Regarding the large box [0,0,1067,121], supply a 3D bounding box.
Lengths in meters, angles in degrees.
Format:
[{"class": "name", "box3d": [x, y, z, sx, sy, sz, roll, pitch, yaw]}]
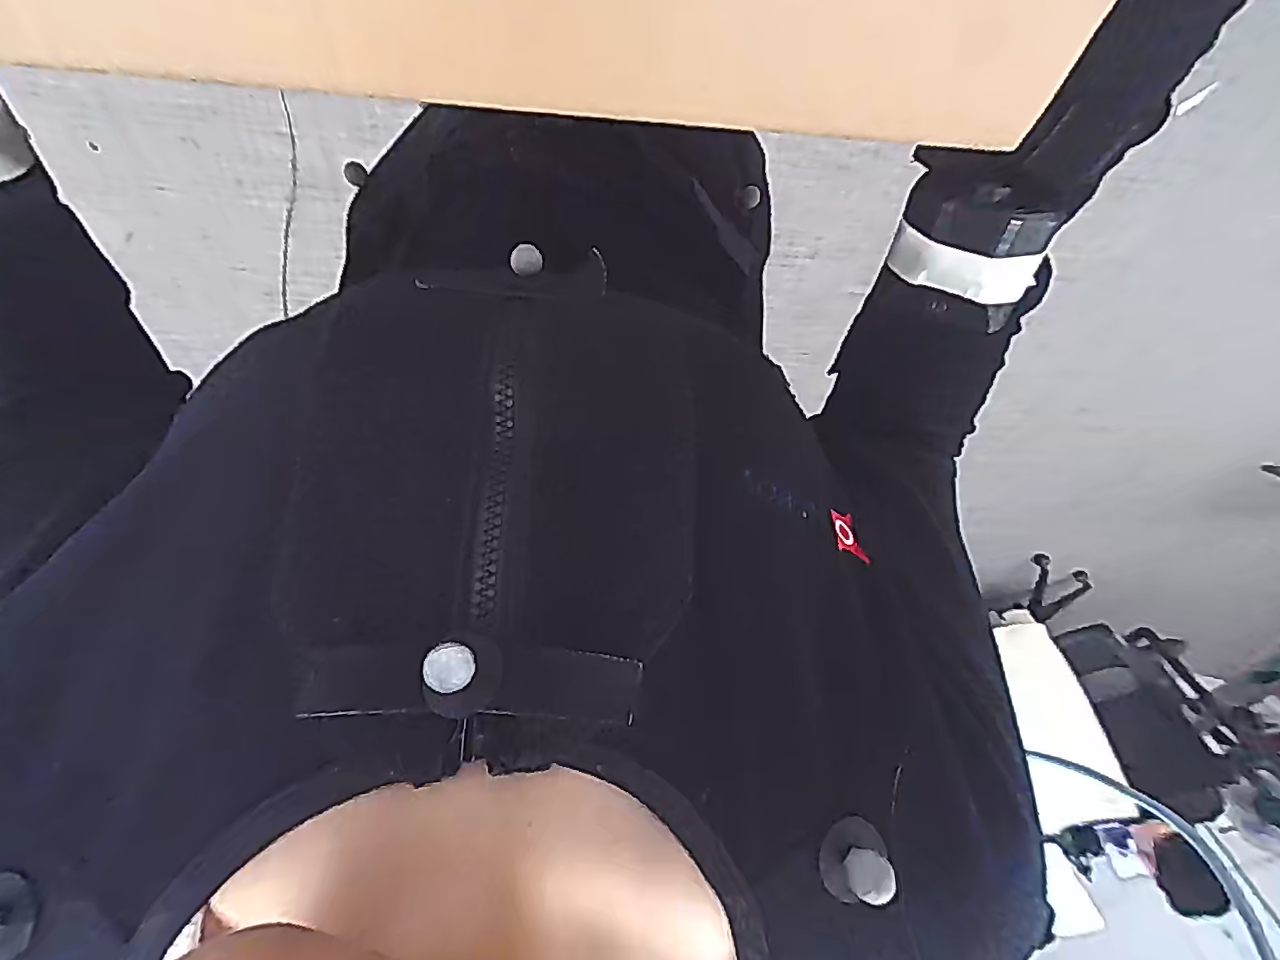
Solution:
[{"class": "large box", "box3d": [-0.051, -0.345, 0.138, 0.408, 0.320, 0.320, 0, 147, -7]}]
